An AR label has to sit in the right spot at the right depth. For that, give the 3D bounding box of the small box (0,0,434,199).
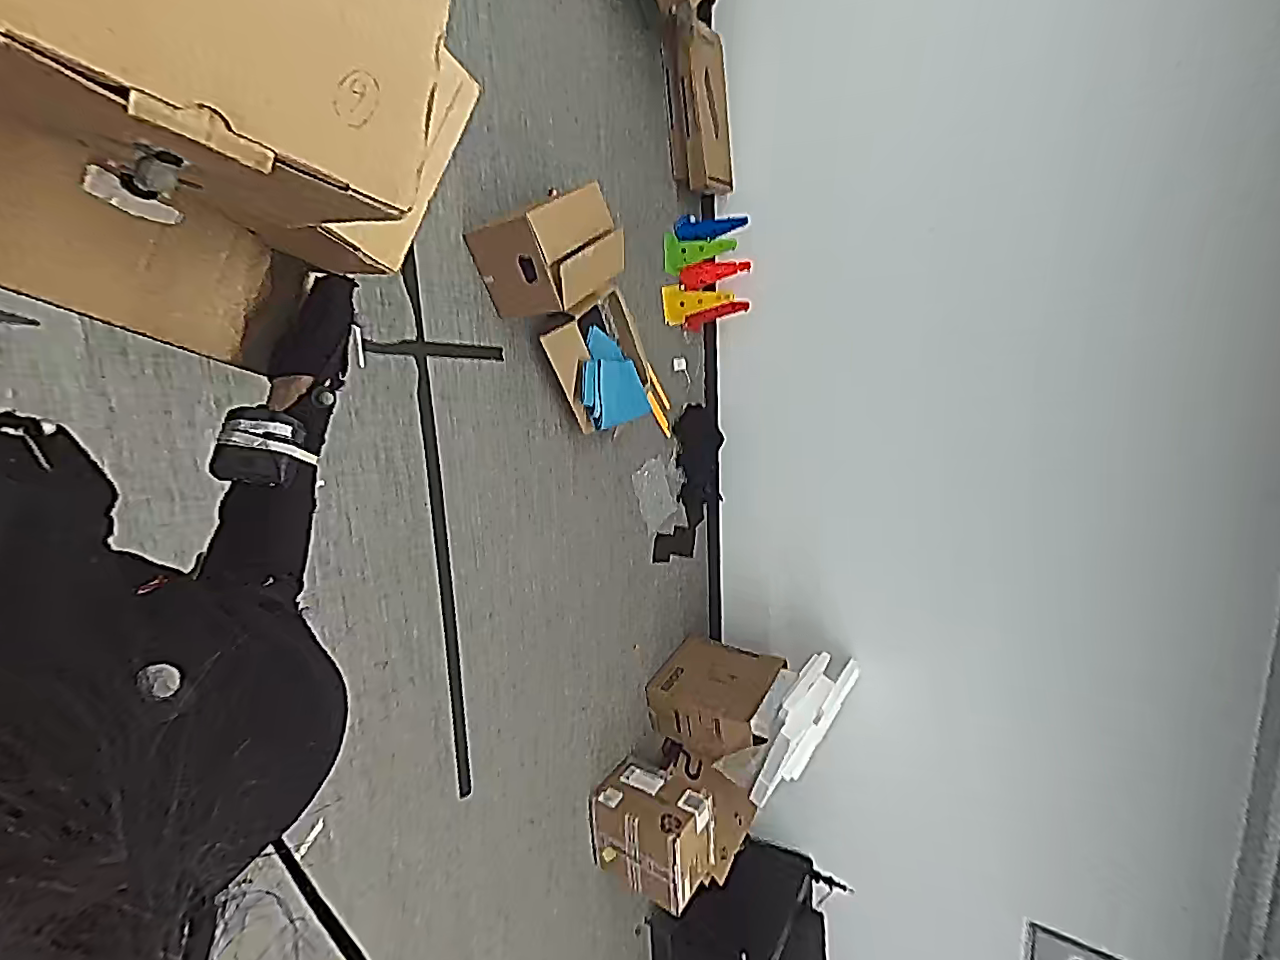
[{"bbox_3d":[-0.210,-0.248,0.242,0.168,0.176,0.179,5,102,-53],"label":"small box"}]

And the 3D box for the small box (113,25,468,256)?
[{"bbox_3d":[-0.274,-0.296,0.415,0.168,0.176,0.179,30,80,-53],"label":"small box"}]
